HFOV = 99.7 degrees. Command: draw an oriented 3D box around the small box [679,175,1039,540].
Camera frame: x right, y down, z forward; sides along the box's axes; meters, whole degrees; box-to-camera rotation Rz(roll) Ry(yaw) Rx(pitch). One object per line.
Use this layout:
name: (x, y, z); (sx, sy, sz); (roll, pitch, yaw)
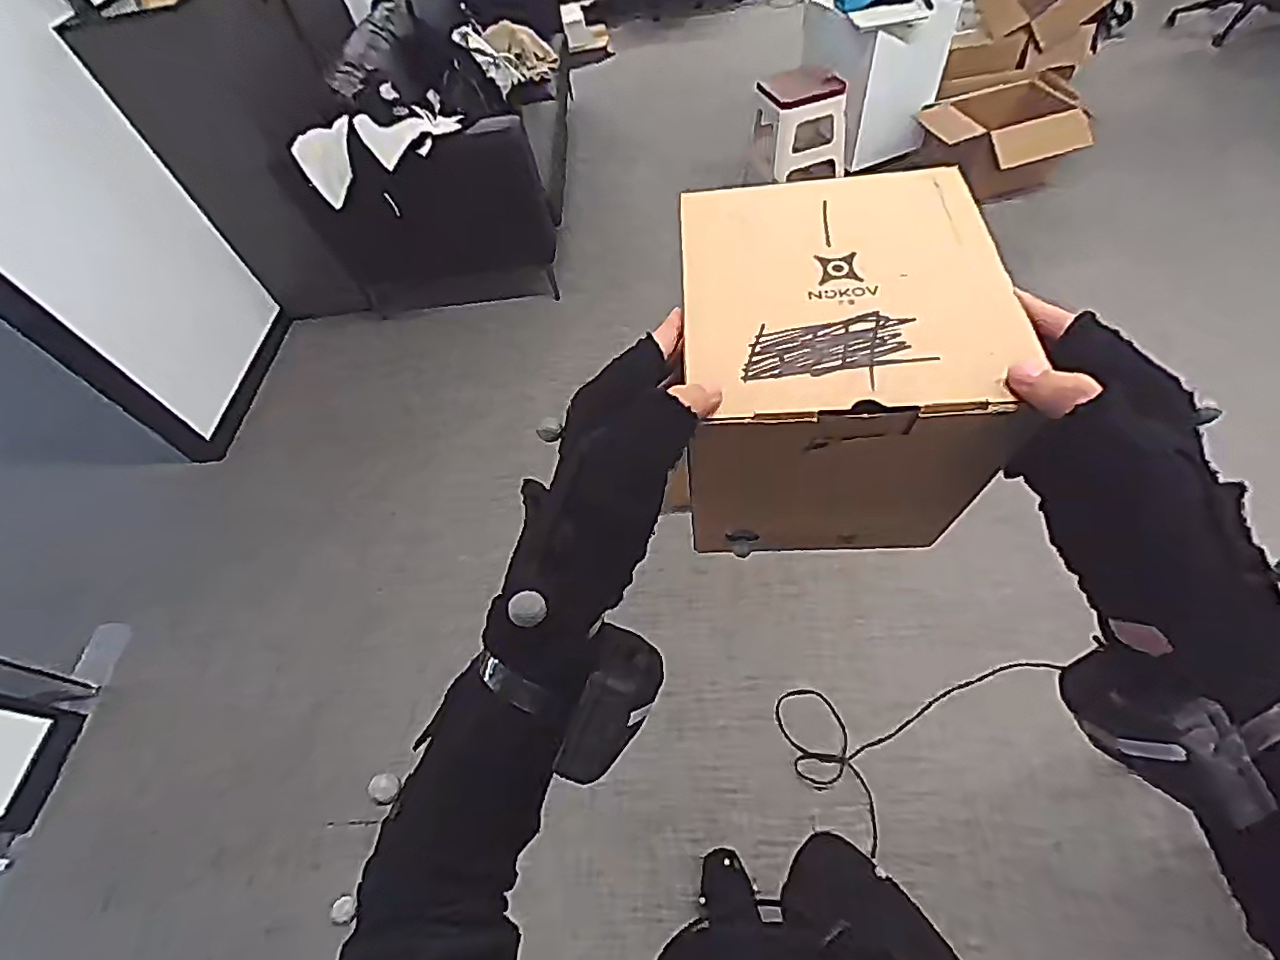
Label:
small box: (0.114, -0.067, 0.363); (0.168, 0.176, 0.179); (-2, 59, 7)

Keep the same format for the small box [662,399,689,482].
small box: (0.151, -0.117, 1.549); (0.168, 0.176, 0.179); (-5, 53, 5)

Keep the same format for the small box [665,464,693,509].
small box: (0.173, -0.023, 1.682); (0.179, 0.176, 0.168); (-5, 54, 5)
